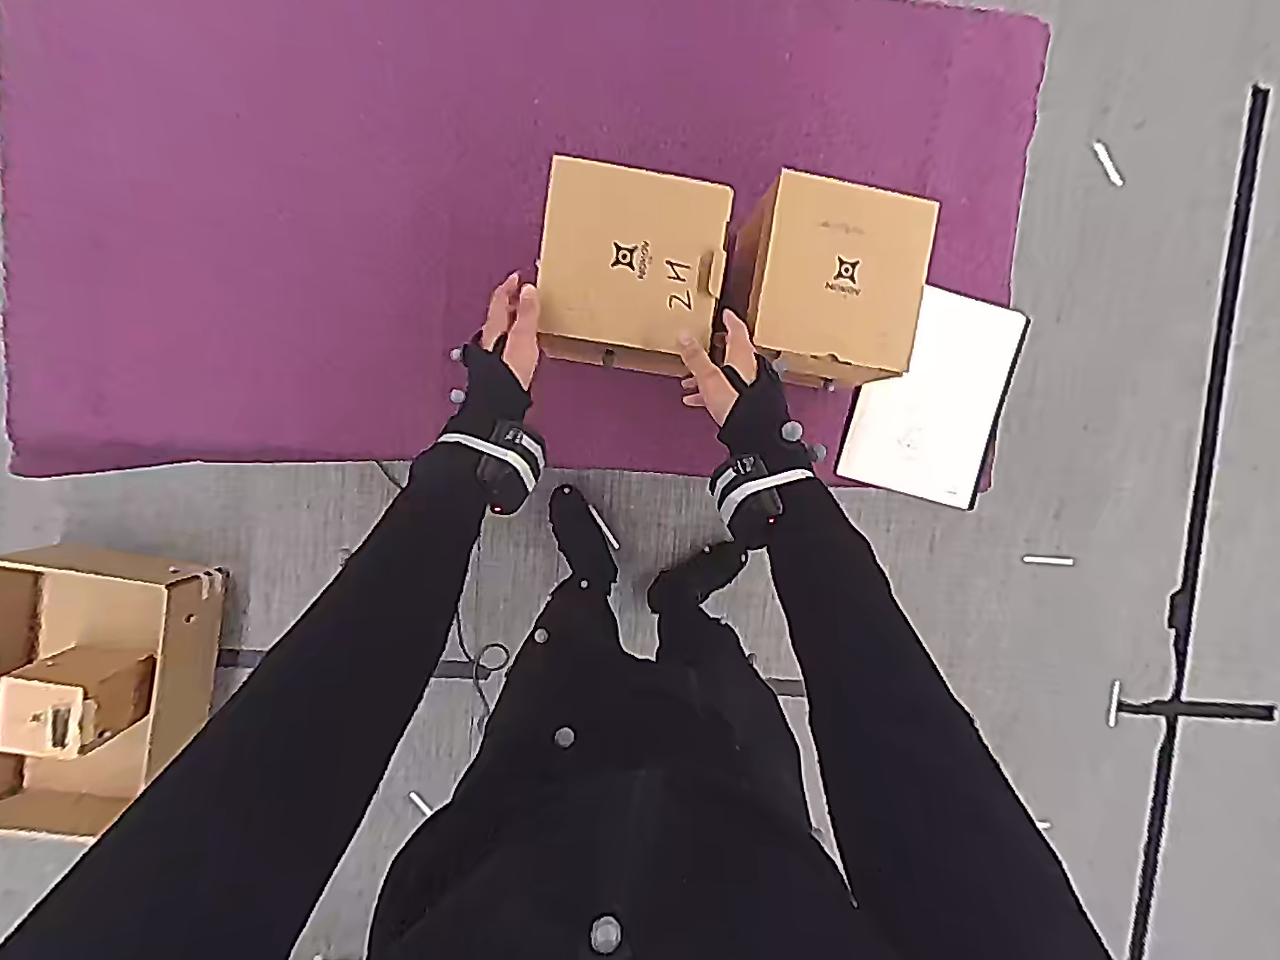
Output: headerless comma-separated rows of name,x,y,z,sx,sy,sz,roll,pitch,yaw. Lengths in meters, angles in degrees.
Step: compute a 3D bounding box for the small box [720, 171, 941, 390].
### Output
small box,0.197,-0.205,0.611,0.168,0.176,0.179,10,93,-5
